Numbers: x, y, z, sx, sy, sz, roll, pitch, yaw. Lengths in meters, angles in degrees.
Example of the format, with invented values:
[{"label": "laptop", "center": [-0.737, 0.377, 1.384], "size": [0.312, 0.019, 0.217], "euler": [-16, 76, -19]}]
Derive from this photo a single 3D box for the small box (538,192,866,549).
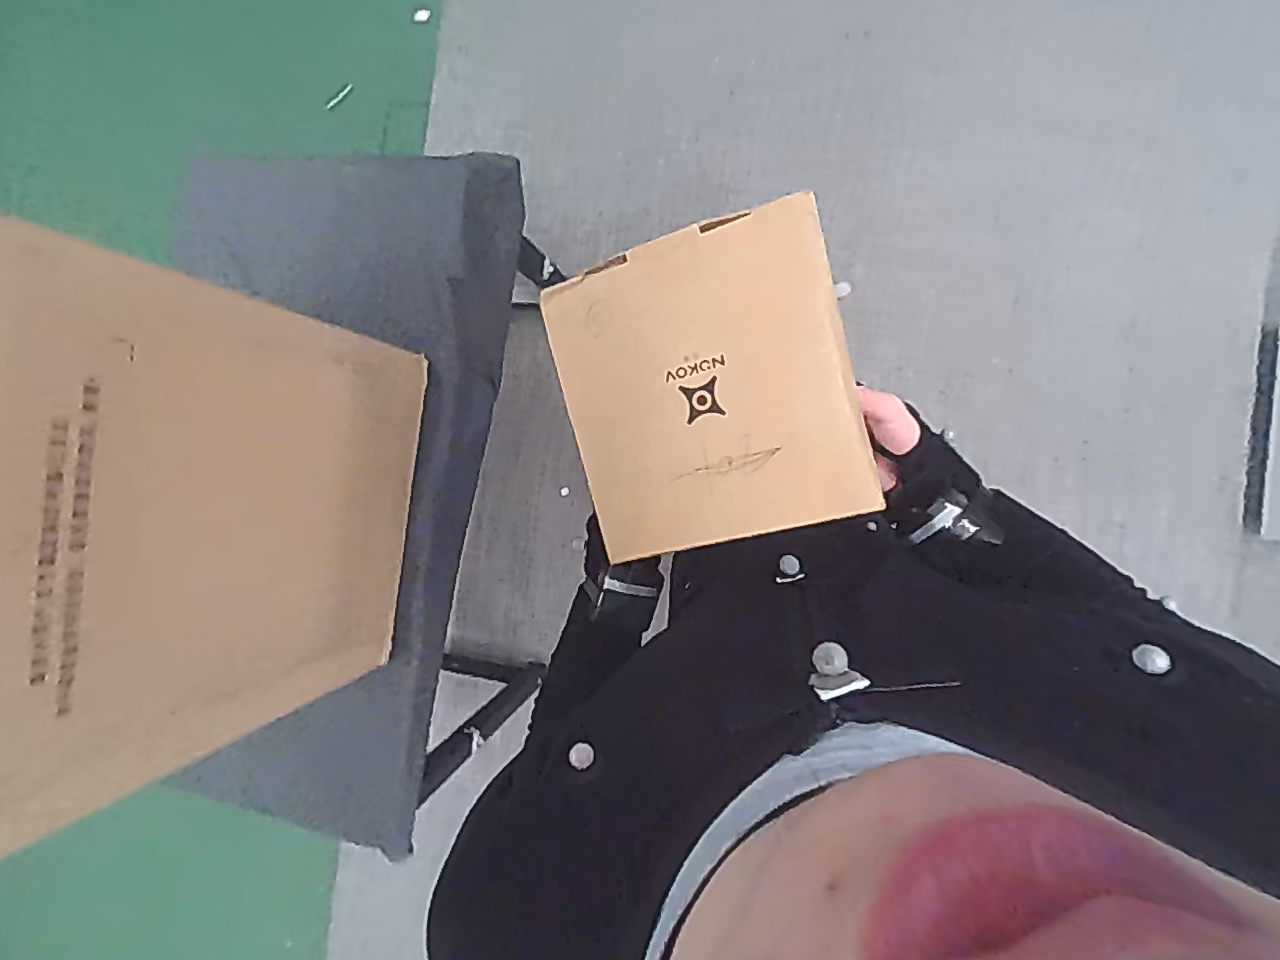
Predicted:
[{"label": "small box", "center": [0.053, -0.064, 0.388], "size": [0.168, 0.176, 0.179], "euler": [-11, 95, 19]}]
